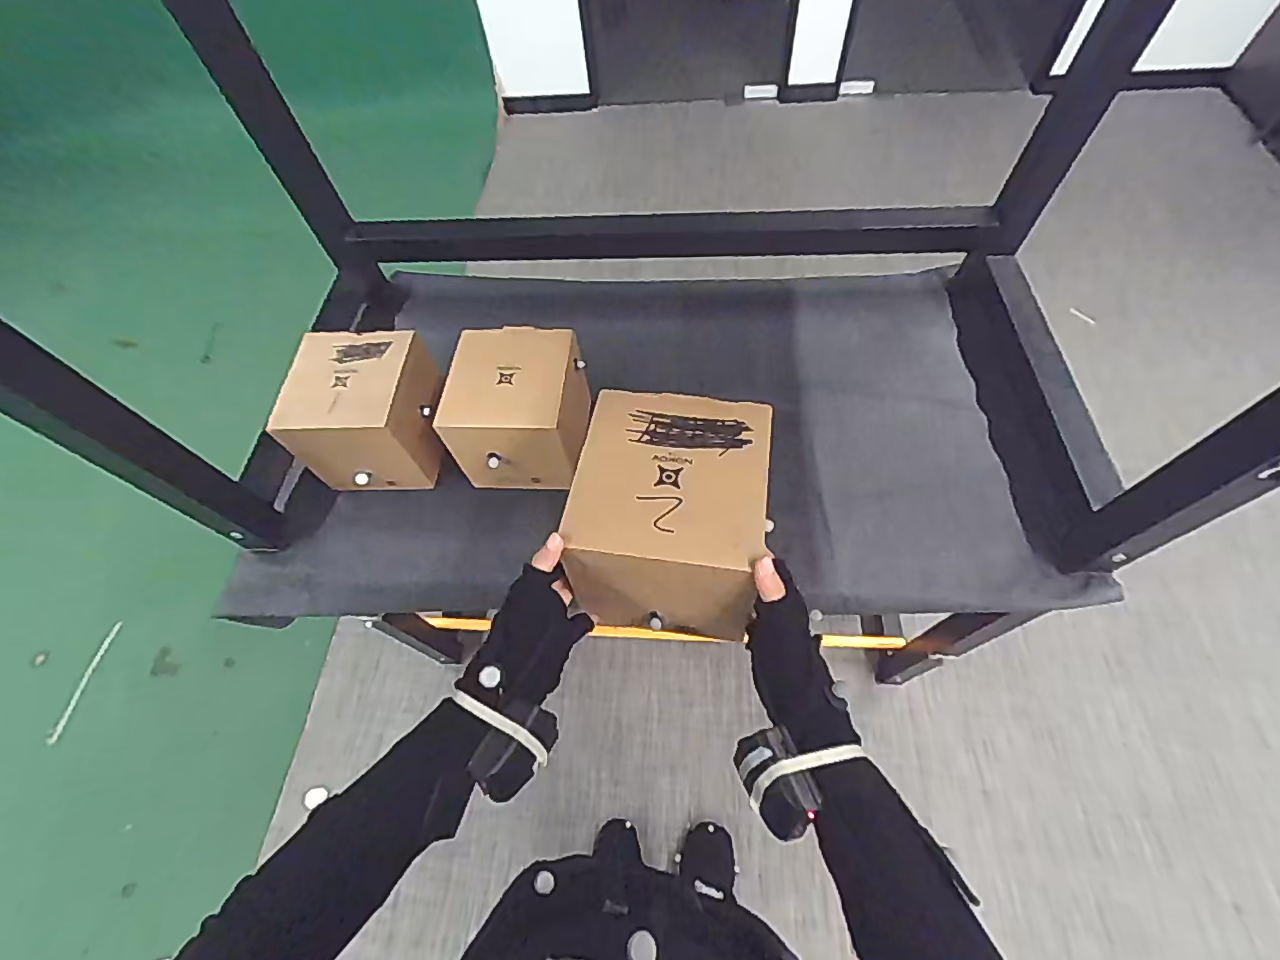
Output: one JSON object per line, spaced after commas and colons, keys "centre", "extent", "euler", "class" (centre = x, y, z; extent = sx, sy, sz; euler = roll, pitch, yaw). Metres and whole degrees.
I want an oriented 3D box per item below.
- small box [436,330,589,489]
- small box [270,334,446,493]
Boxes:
{"centre": [-0.173, -0.099, 0.802], "extent": [0.168, 0.176, 0.179], "euler": [1, 59, 5], "class": "small box"}
{"centre": [-0.400, -0.097, 0.817], "extent": [0.168, 0.176, 0.179], "euler": [-1, 59, 4], "class": "small box"}
